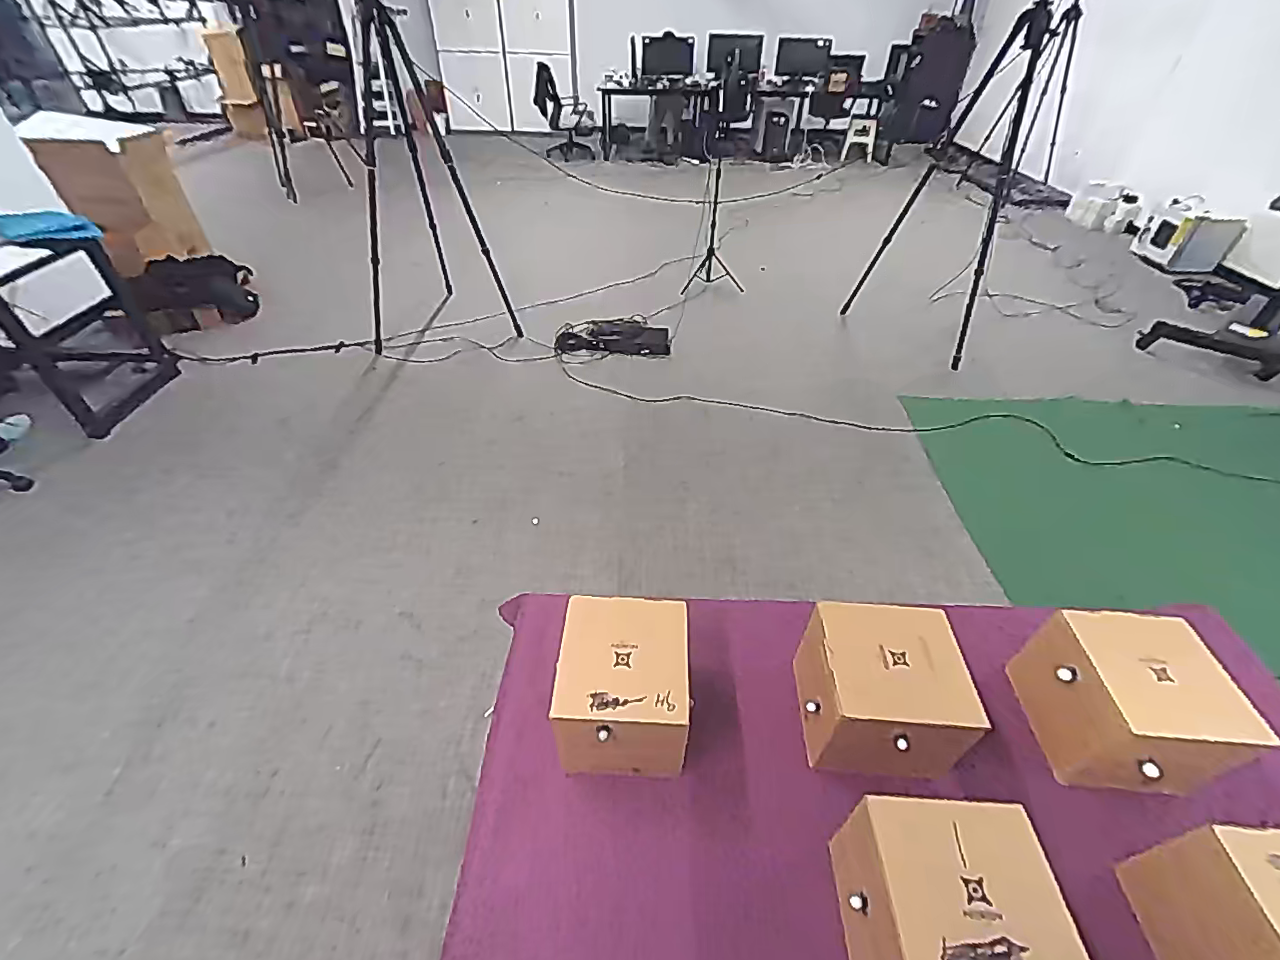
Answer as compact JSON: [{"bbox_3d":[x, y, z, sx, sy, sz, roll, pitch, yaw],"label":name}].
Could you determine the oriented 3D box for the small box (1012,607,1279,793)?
[{"bbox_3d":[0.653,0.297,0.730,0.168,0.176,0.179,3,41,4],"label":"small box"}]

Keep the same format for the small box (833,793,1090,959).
[{"bbox_3d":[0.312,0.451,0.554,0.168,0.176,0.179,2,40,2],"label":"small box"}]

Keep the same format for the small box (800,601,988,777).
[{"bbox_3d":[0.326,0.287,0.742,0.179,0.176,0.168,4,42,3],"label":"small box"}]

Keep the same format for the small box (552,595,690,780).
[{"bbox_3d":[-0.020,0.283,0.744,0.168,0.176,0.179,2,41,2],"label":"small box"}]
